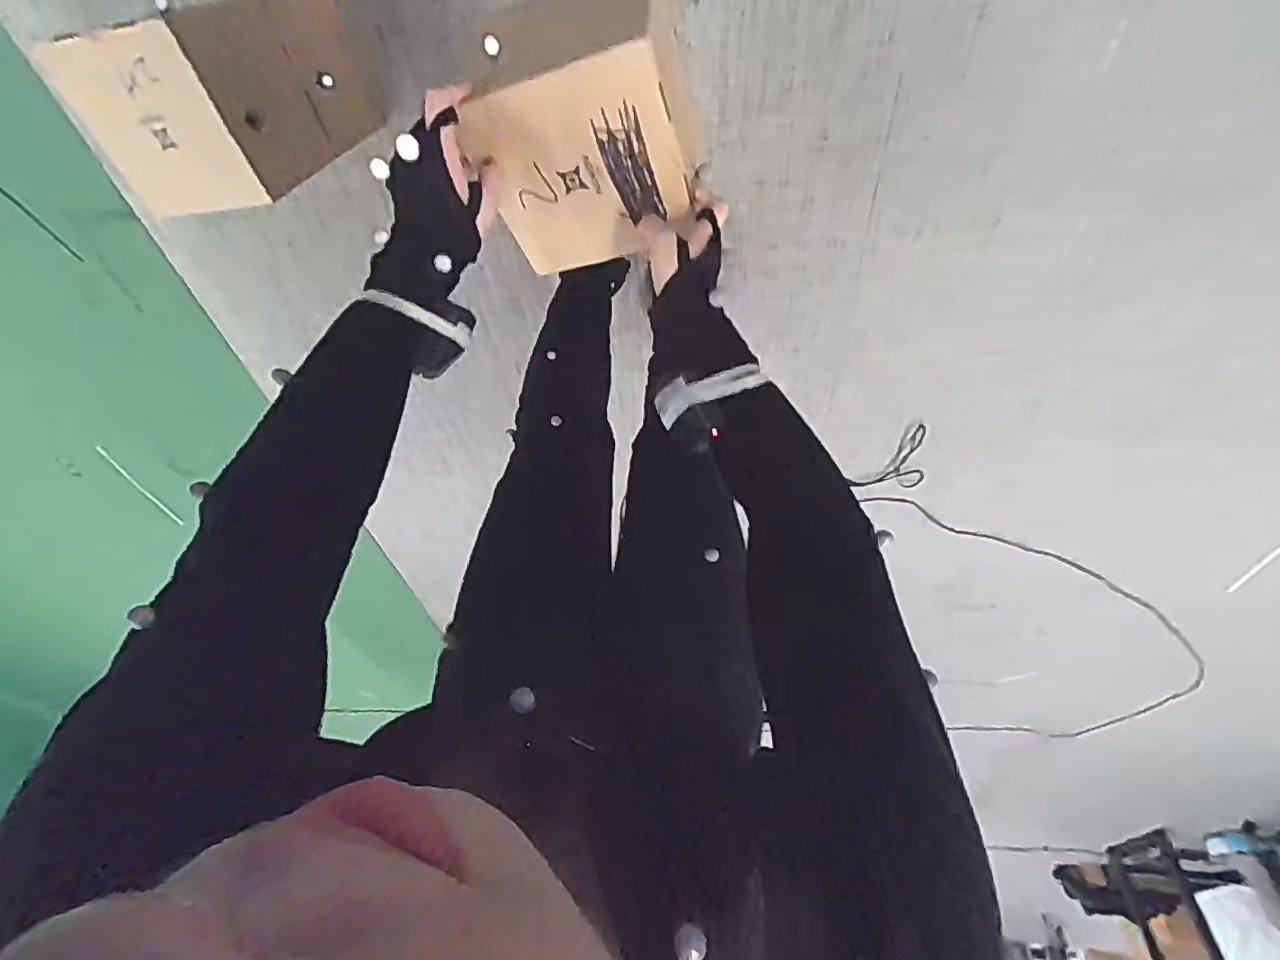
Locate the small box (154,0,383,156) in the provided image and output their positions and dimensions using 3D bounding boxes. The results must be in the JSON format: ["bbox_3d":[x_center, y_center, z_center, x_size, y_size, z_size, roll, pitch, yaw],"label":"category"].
[{"bbox_3d":[-0.501,-0.578,0.766,0.168,0.176,0.179,0,137,8],"label":"small box"}]

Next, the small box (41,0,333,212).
[{"bbox_3d":[-0.520,-0.455,0.658,0.168,0.176,0.179,-1,137,9],"label":"small box"}]
